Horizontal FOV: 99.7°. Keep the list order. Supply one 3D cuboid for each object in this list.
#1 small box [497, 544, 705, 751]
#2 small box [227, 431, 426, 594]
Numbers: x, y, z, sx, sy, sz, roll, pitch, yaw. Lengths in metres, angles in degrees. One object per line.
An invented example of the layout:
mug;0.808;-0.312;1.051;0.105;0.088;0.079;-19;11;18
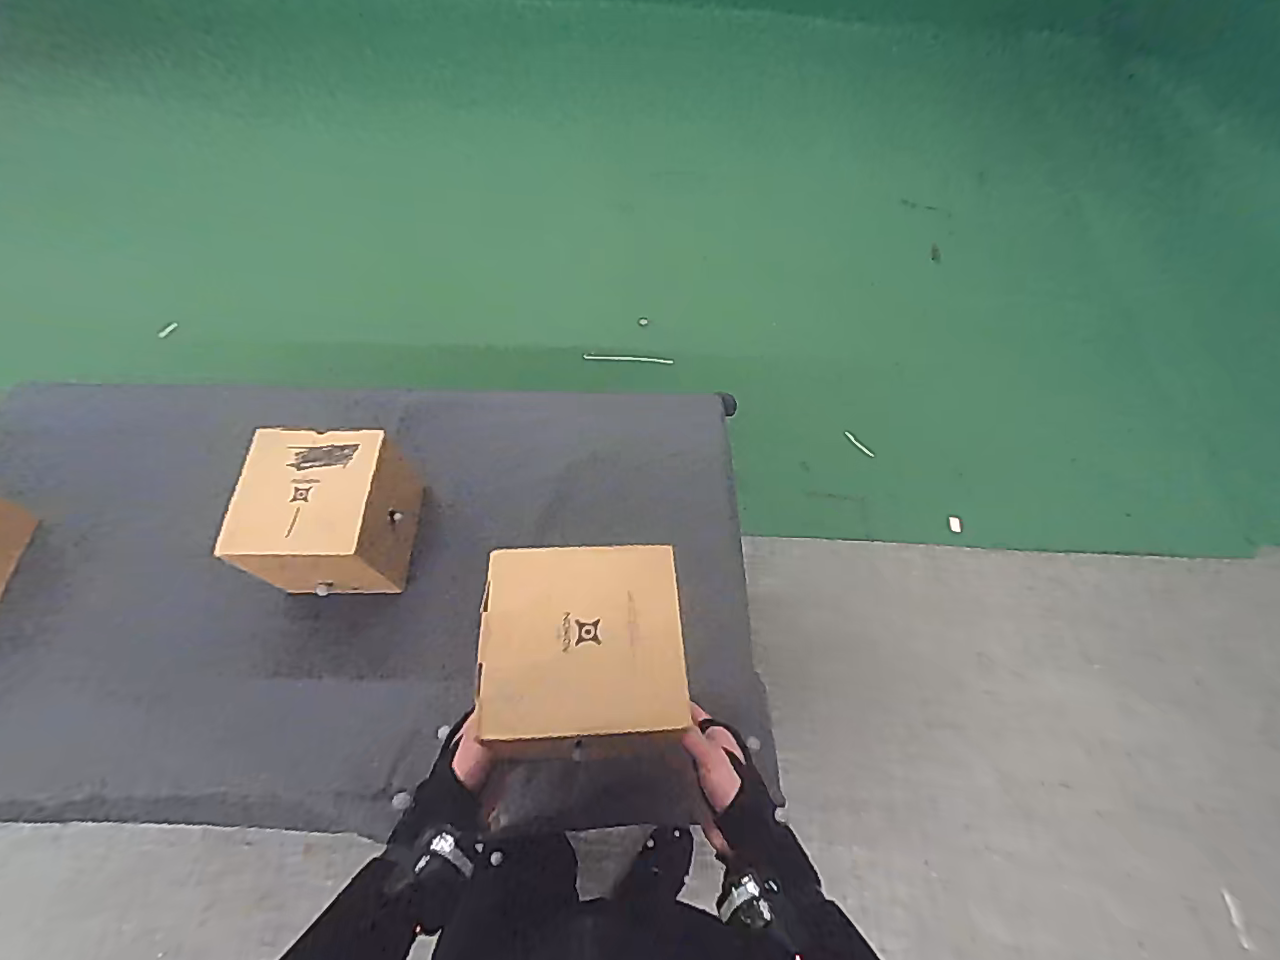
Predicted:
small box;-0.045;0.176;0.555;0.179;0.176;0.168;0;59;-9
small box;-0.411;0.050;0.748;0.168;0.176;0.179;1;64;-2
